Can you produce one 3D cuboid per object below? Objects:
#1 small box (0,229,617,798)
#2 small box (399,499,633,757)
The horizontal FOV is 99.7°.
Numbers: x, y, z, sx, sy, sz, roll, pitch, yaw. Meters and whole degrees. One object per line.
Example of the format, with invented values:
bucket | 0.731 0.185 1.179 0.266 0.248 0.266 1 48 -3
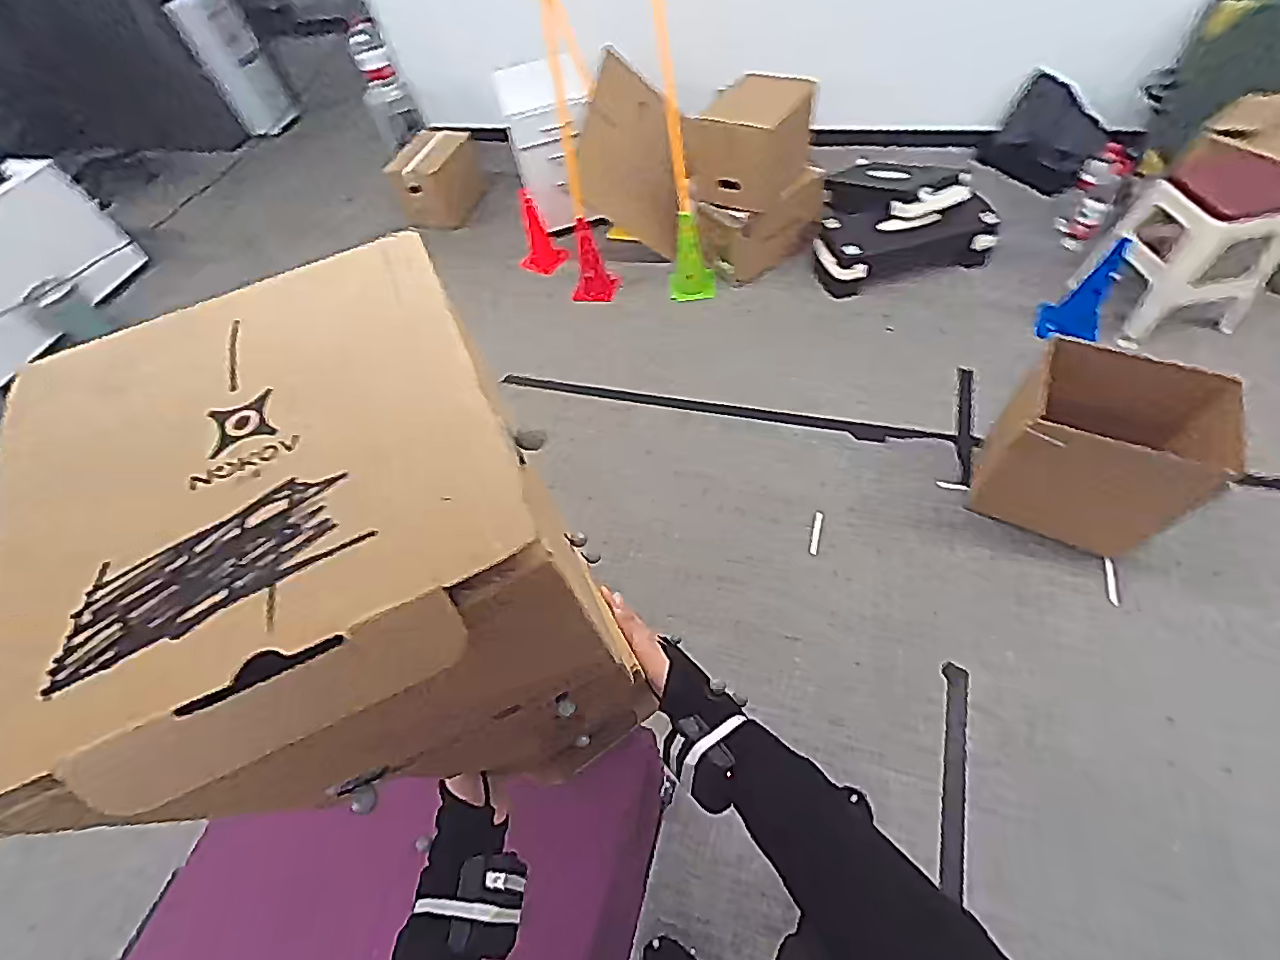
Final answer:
small box | -0.121 0.024 0.261 0.168 0.176 0.179 -23 60 -8
small box | -0.114 0.092 0.411 0.168 0.176 0.179 -23 61 -8
